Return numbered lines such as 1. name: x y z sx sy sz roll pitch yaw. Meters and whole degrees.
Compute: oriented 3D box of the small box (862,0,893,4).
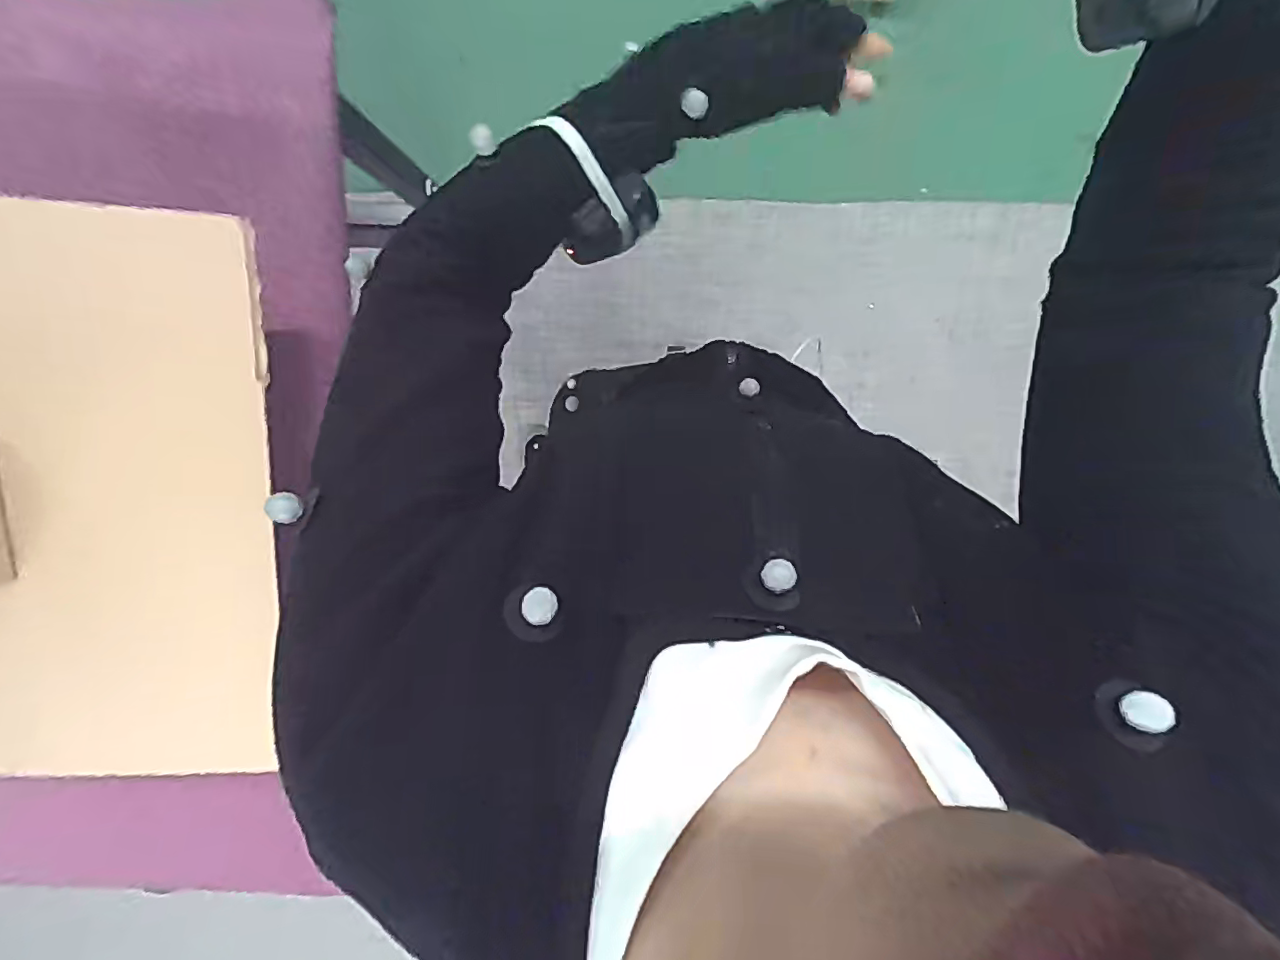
1. small box: 0.518 -1.185 1.172 0.168 0.176 0.179 3 100 -2
